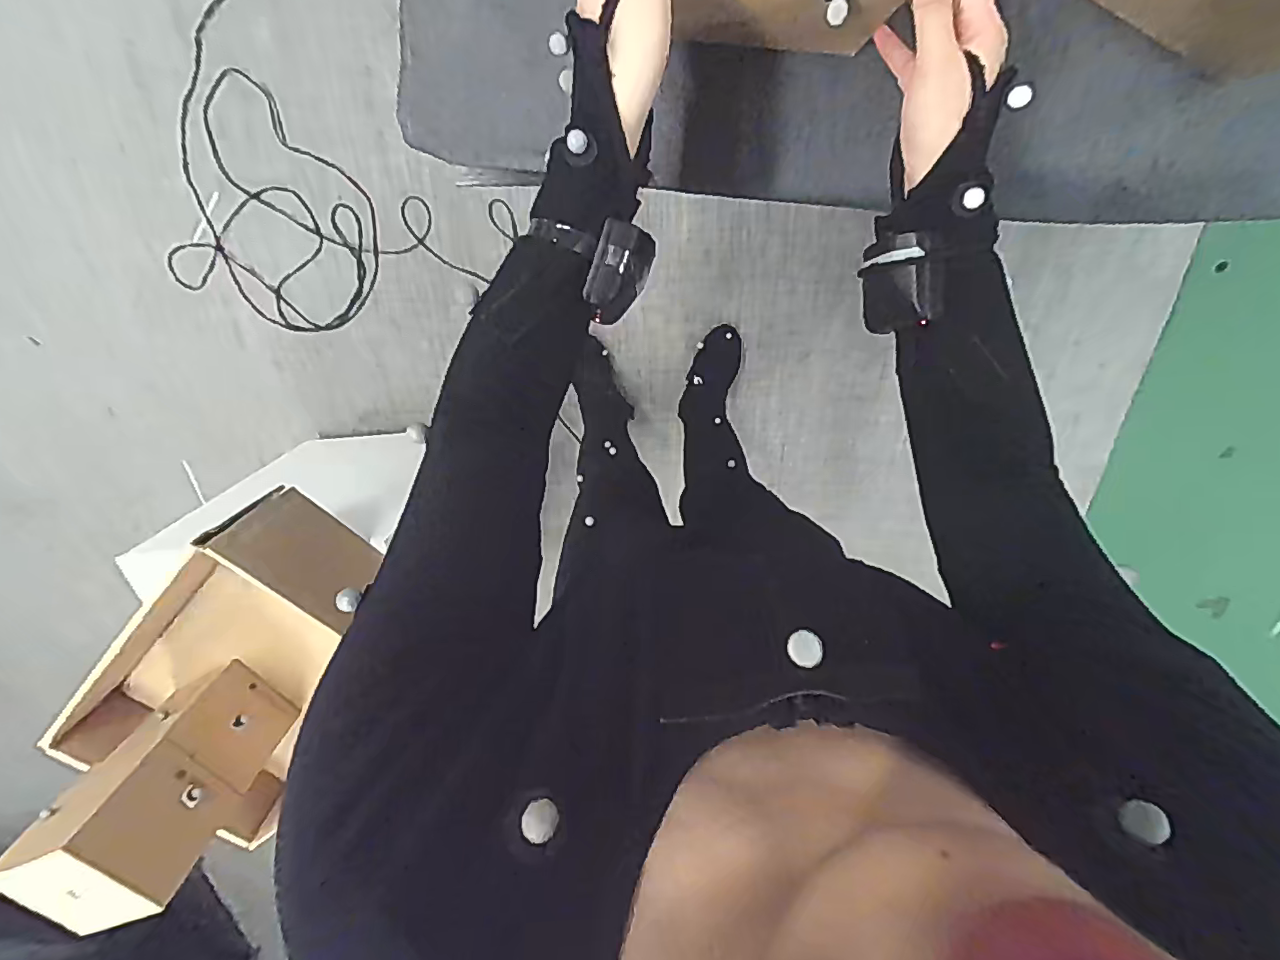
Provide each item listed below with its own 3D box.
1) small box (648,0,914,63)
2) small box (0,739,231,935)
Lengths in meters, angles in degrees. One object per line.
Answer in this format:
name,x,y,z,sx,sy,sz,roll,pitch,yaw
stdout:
small box,0.100,-0.411,0.369,0.179,0.176,0.168,7,114,2
small box,-0.777,0.526,0.808,0.179,0.176,0.168,-25,114,13
